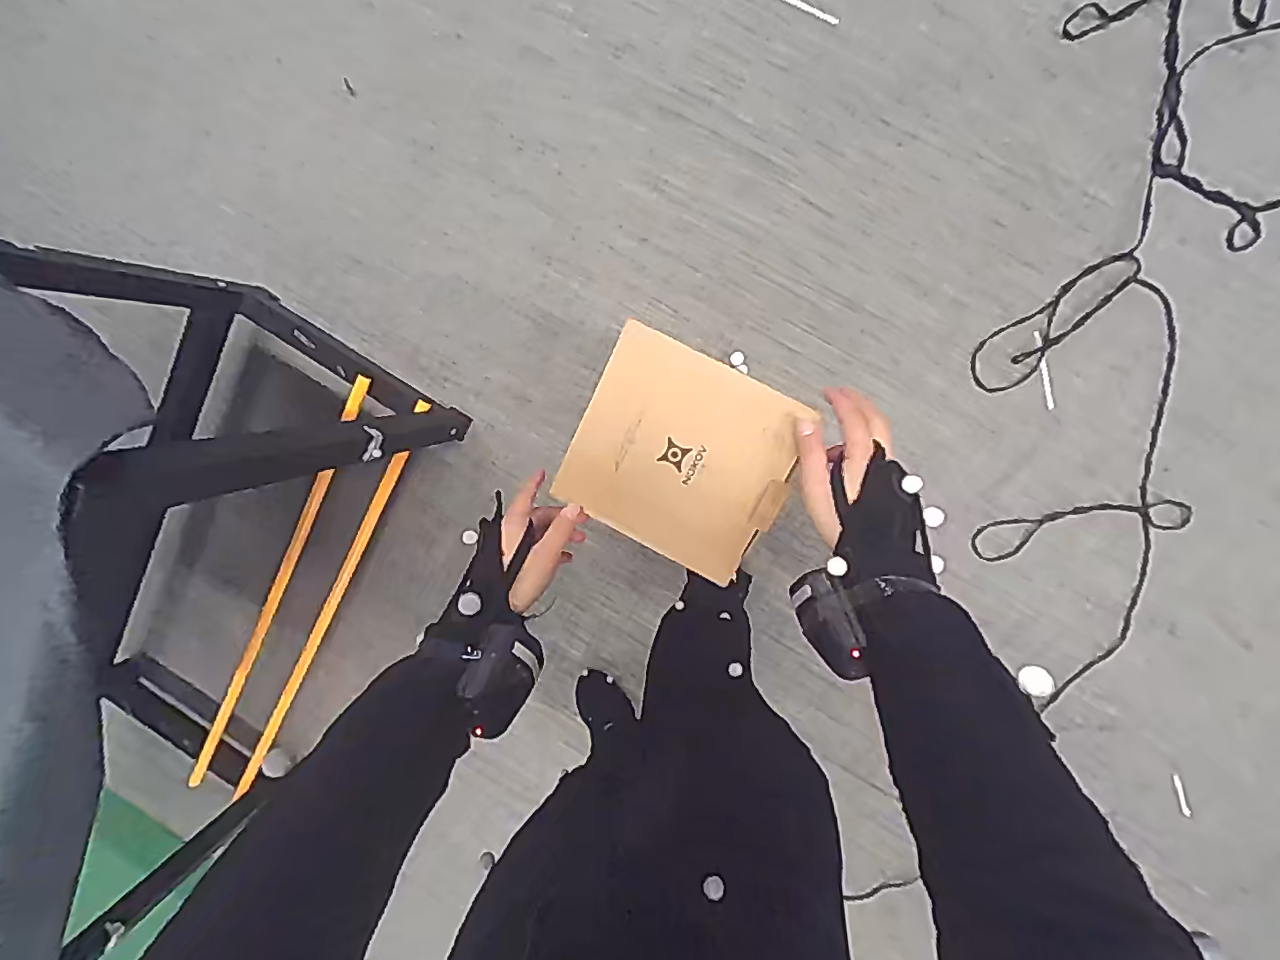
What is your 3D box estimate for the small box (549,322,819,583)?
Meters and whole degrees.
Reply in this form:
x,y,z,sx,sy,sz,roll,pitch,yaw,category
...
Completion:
x,y,z,sx,sy,sz,roll,pitch,yaw,category
0.045,-0.035,0.522,0.179,0.176,0.168,27,104,5,small box
